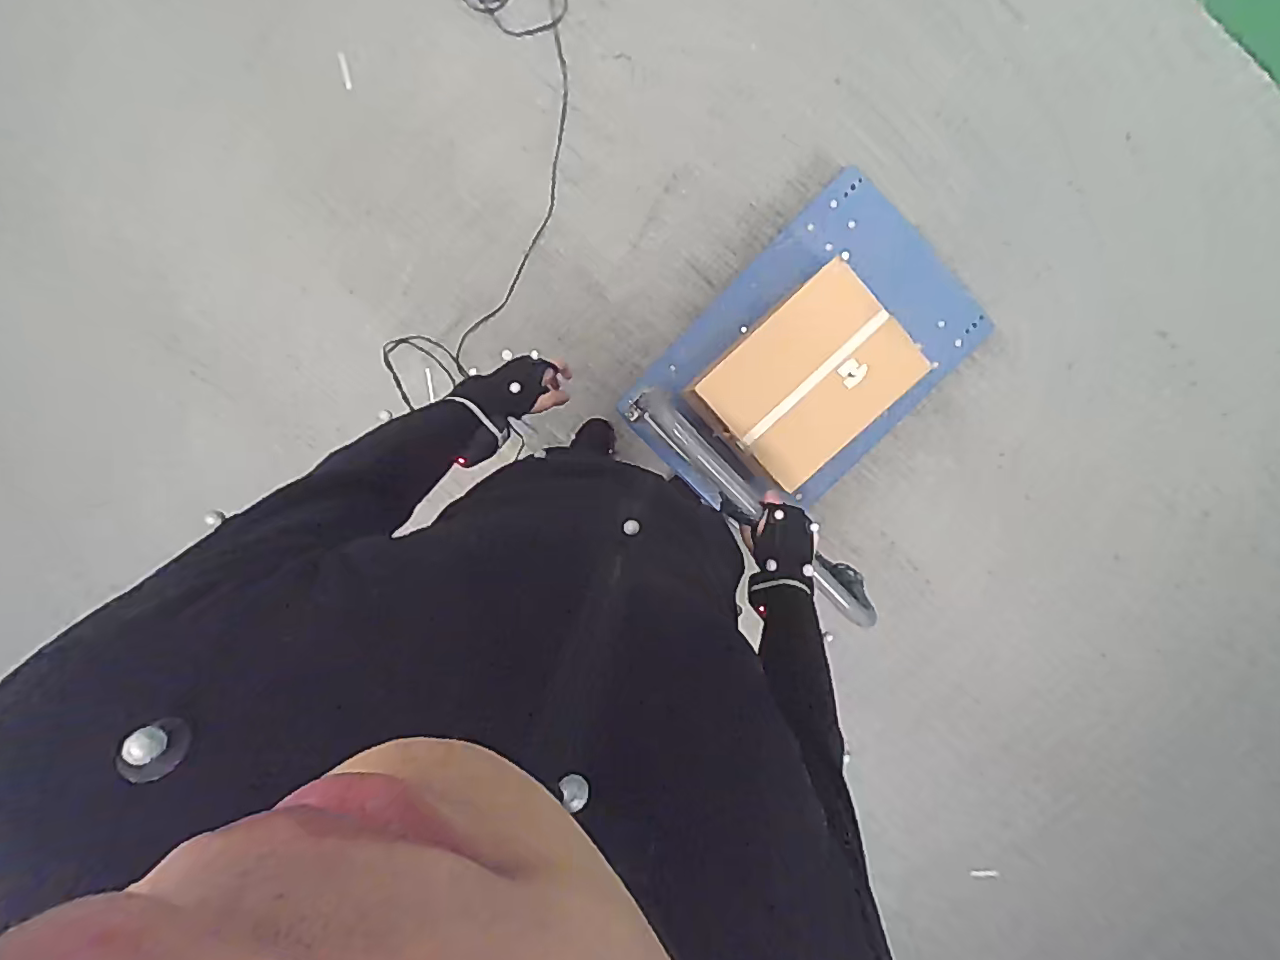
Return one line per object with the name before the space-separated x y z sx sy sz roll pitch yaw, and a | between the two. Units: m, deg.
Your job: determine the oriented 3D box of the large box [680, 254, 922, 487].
large box | 0.350 -0.241 1.289 0.408 0.320 0.320 -43 97 4
